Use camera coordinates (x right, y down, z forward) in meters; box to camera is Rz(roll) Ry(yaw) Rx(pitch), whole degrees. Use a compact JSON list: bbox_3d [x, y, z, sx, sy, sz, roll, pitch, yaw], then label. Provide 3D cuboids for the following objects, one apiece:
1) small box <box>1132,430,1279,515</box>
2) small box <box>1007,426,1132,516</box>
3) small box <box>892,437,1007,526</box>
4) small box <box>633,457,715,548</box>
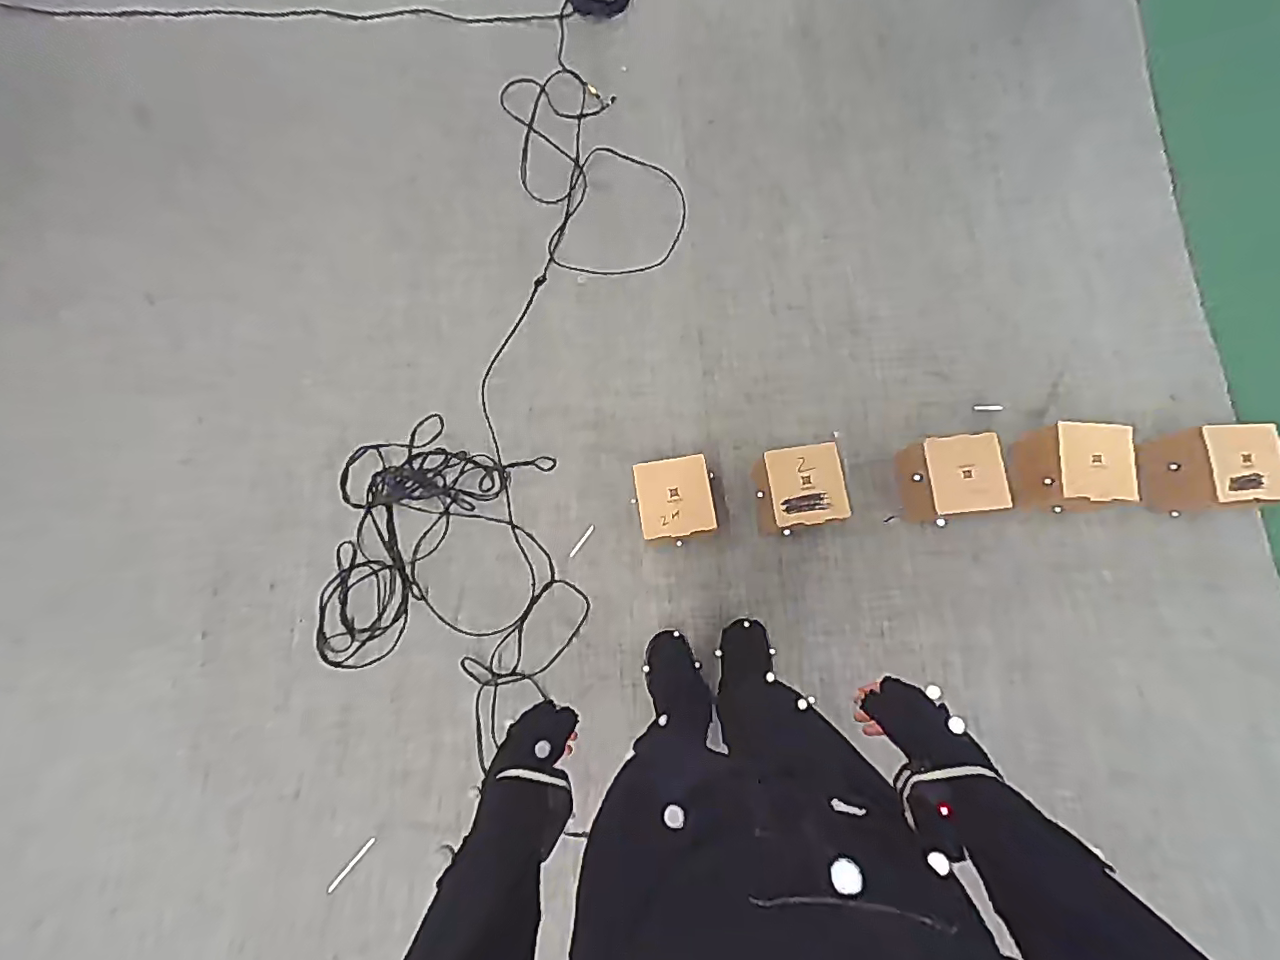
[{"bbox_3d":[1.323,-0.011,1.275,0.168,0.176,0.179,-1,78,1],"label":"small box"},{"bbox_3d":[1.004,-0.015,1.282,0.168,0.176,0.179,3,79,2],"label":"small box"},{"bbox_3d":[0.720,0.009,1.281,0.168,0.176,0.179,-6,80,2],"label":"small box"},{"bbox_3d":[0.075,0.059,1.282,0.168,0.176,0.179,-9,79,0],"label":"small box"}]
